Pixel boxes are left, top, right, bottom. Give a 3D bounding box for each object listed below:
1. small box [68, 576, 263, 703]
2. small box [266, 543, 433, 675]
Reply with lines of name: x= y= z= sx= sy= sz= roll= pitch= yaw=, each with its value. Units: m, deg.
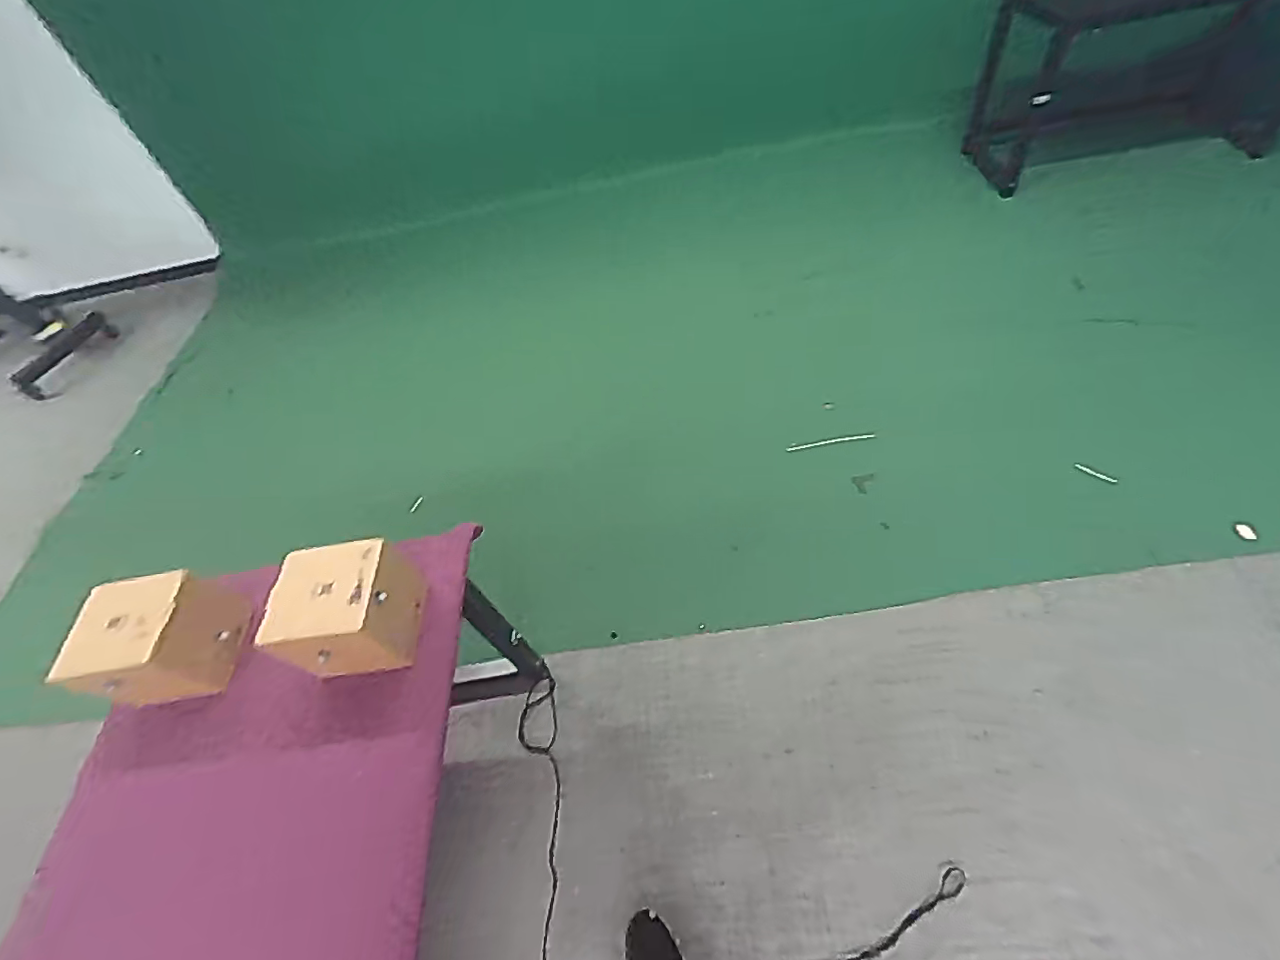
small box: x=-0.846 y=0.296 z=0.986 sx=0.179 sy=0.176 sz=0.168 roll=-11 pitch=55 yaw=4
small box: x=-0.498 y=0.233 z=0.954 sx=0.179 sy=0.176 sz=0.168 roll=-10 pitch=54 yaw=6
